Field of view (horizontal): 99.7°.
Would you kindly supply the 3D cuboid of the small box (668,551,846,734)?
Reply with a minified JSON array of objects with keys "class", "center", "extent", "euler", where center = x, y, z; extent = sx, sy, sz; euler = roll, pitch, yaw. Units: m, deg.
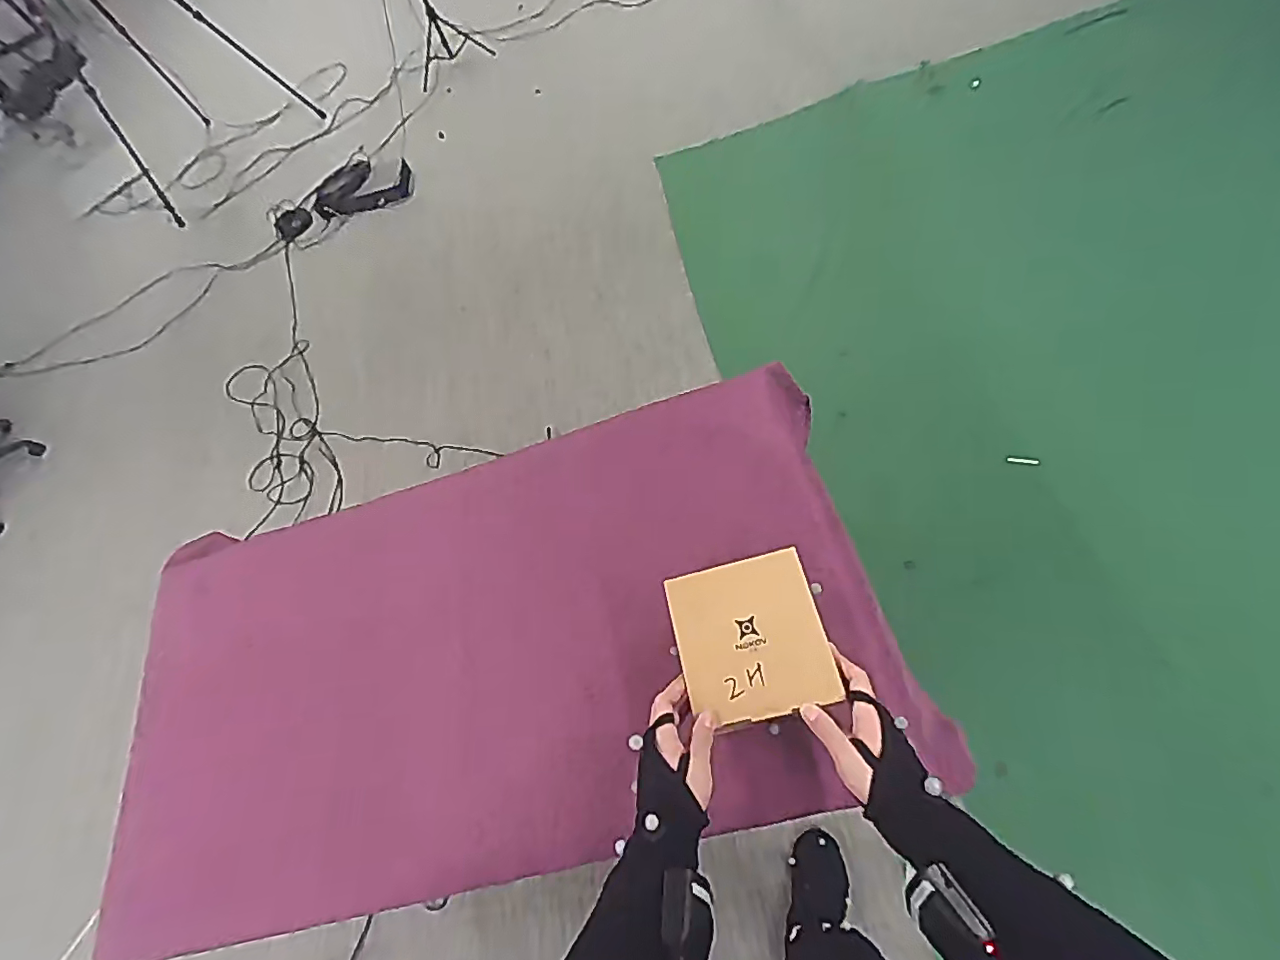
[{"class":"small box","center":[0.143,0.213,0.683],"extent":[0.168,0.176,0.179],"euler":[-16,62,8]}]
